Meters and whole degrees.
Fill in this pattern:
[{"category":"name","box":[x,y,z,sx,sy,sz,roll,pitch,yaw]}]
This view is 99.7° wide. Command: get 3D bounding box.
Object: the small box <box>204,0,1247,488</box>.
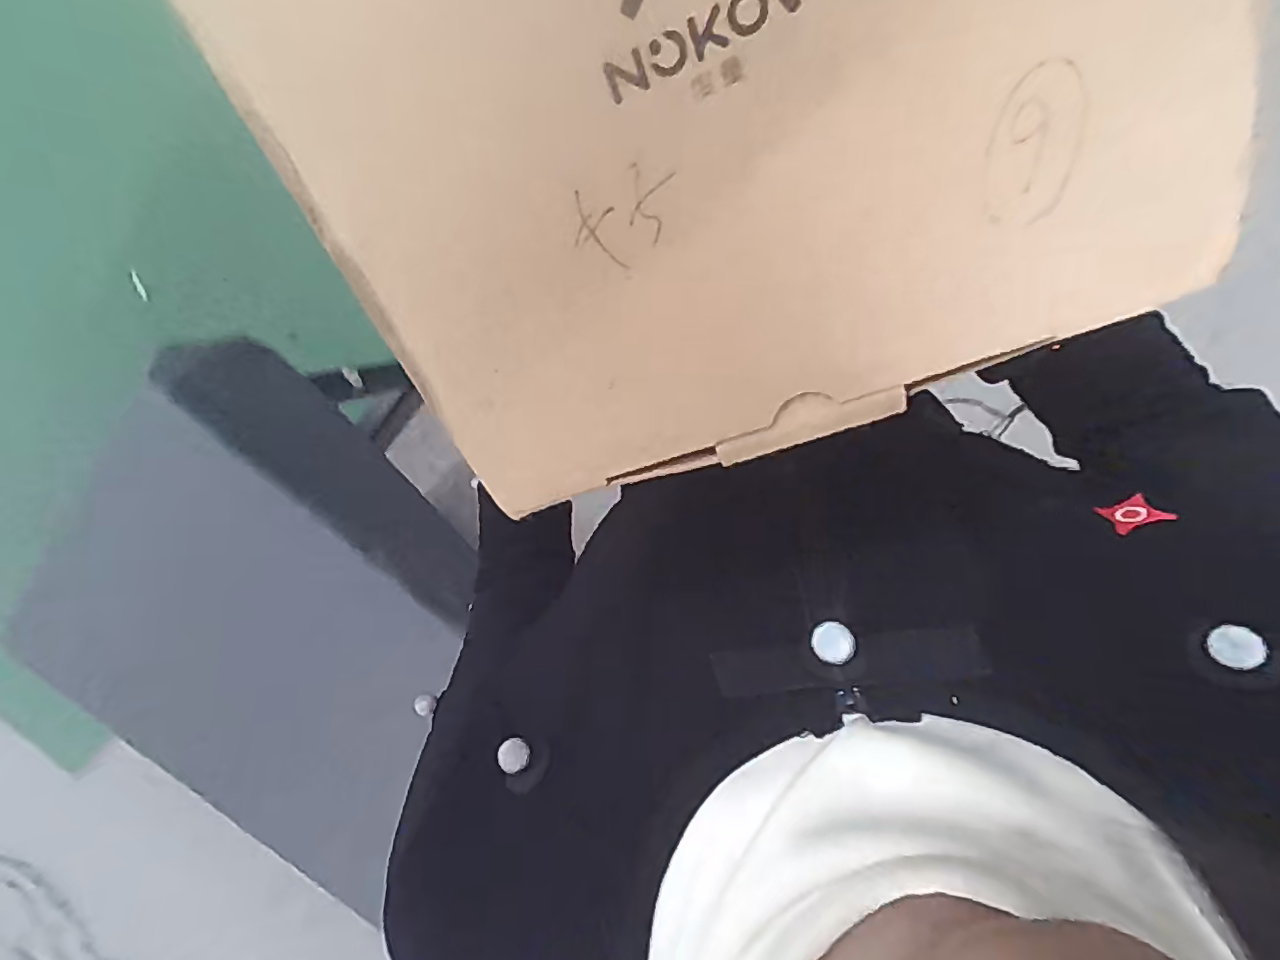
[{"category":"small box","box":[0.014,-0.130,0.158,0.168,0.176,0.179,-18,118,15]}]
